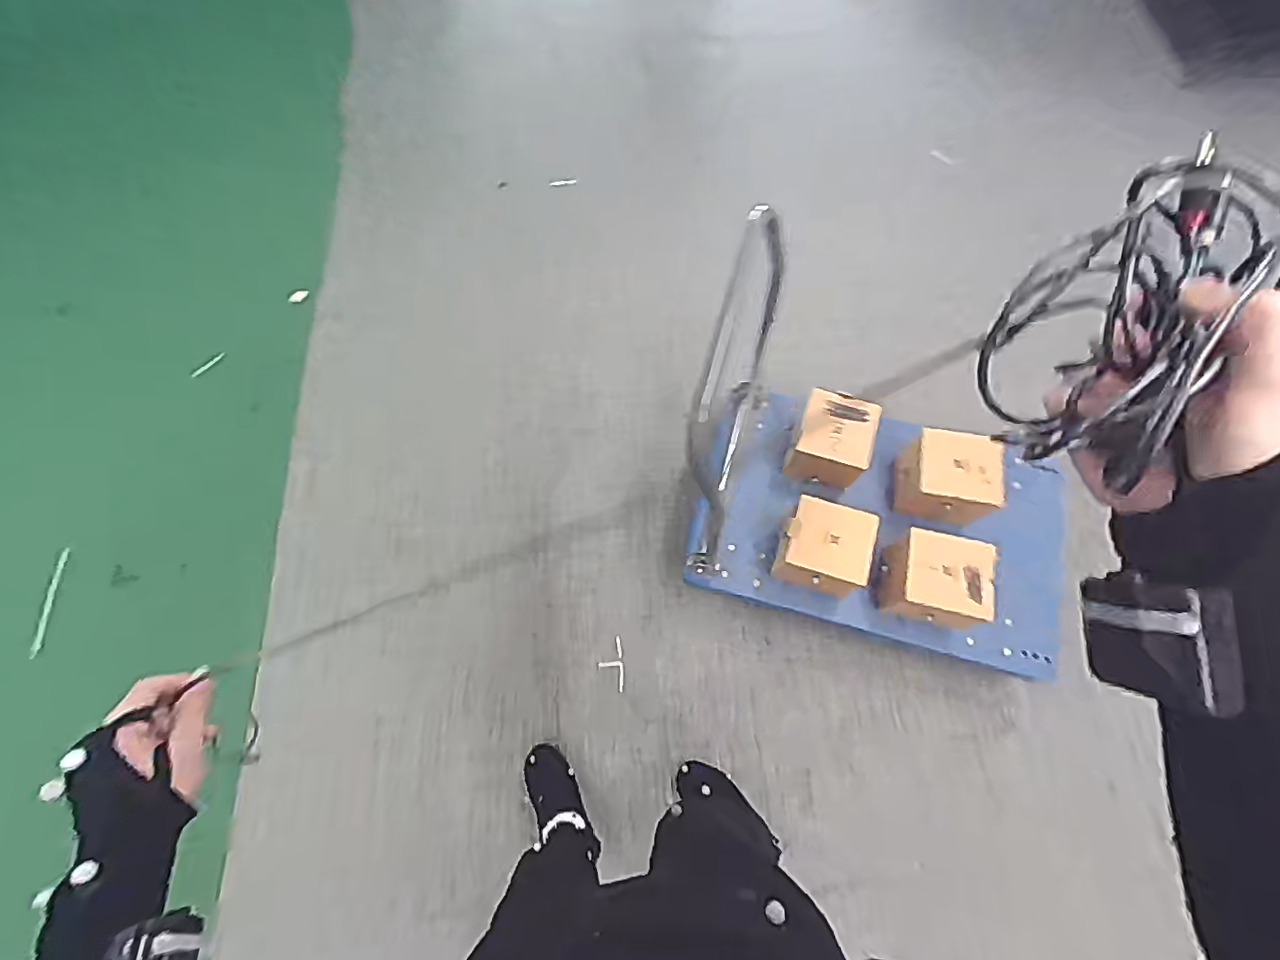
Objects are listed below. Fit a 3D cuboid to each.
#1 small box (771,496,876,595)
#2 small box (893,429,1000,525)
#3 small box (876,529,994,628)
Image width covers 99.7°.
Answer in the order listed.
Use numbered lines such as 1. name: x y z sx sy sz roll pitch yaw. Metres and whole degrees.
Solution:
1. small box: 0.419 0.159 1.256 0.179 0.176 0.168 16 71 10
2. small box: 0.727 -0.001 1.298 0.179 0.176 0.168 11 71 7
3. small box: 0.656 0.227 1.214 0.179 0.176 0.168 13 70 9
